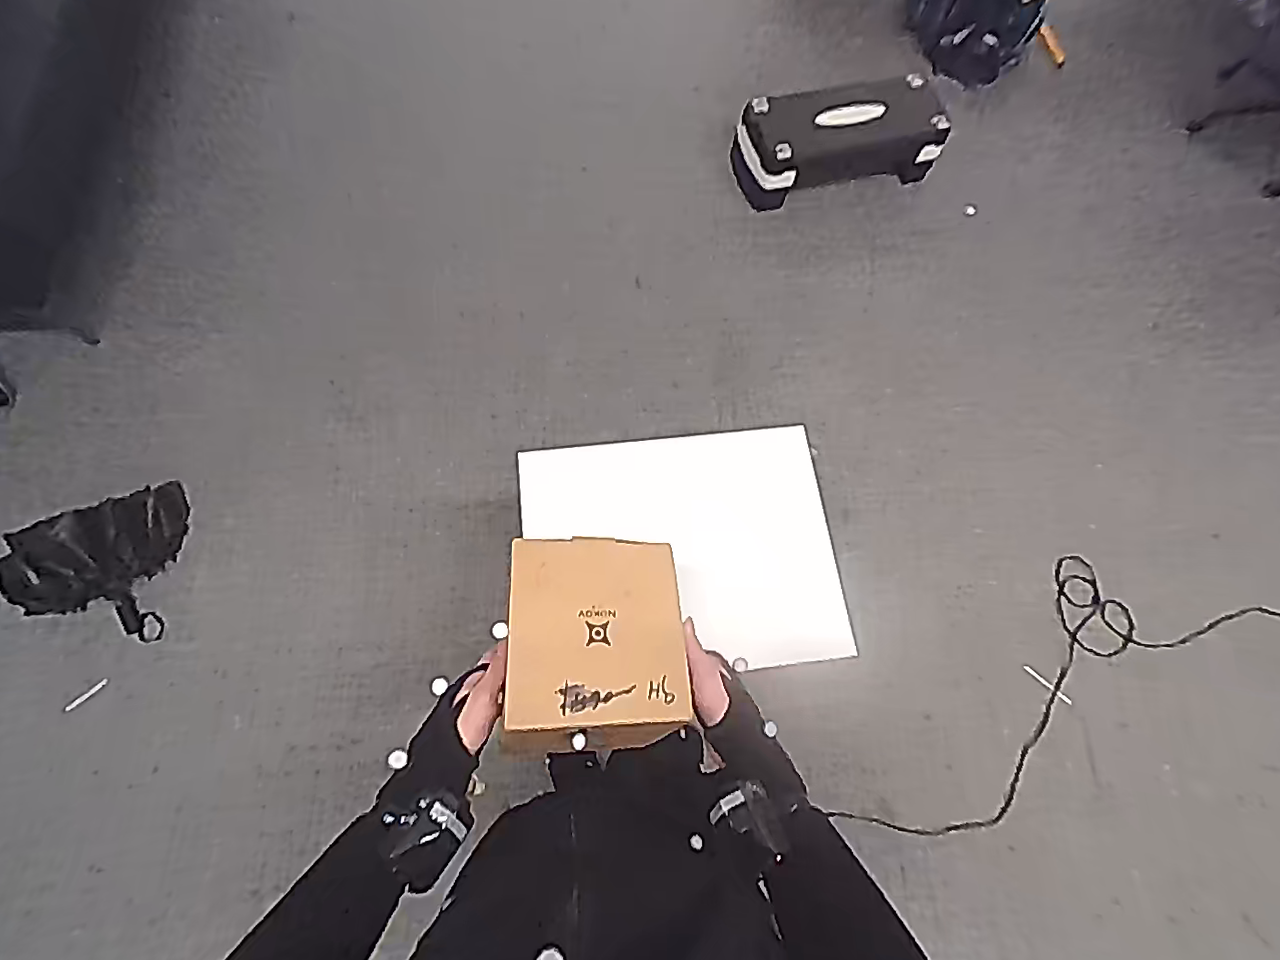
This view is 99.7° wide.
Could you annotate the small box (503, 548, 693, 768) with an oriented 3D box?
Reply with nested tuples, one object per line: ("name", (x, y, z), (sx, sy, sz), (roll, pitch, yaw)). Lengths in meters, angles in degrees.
("small box", (-0.056, 0.188, 0.570), (0.168, 0.176, 0.179), (1, 54, -13))
